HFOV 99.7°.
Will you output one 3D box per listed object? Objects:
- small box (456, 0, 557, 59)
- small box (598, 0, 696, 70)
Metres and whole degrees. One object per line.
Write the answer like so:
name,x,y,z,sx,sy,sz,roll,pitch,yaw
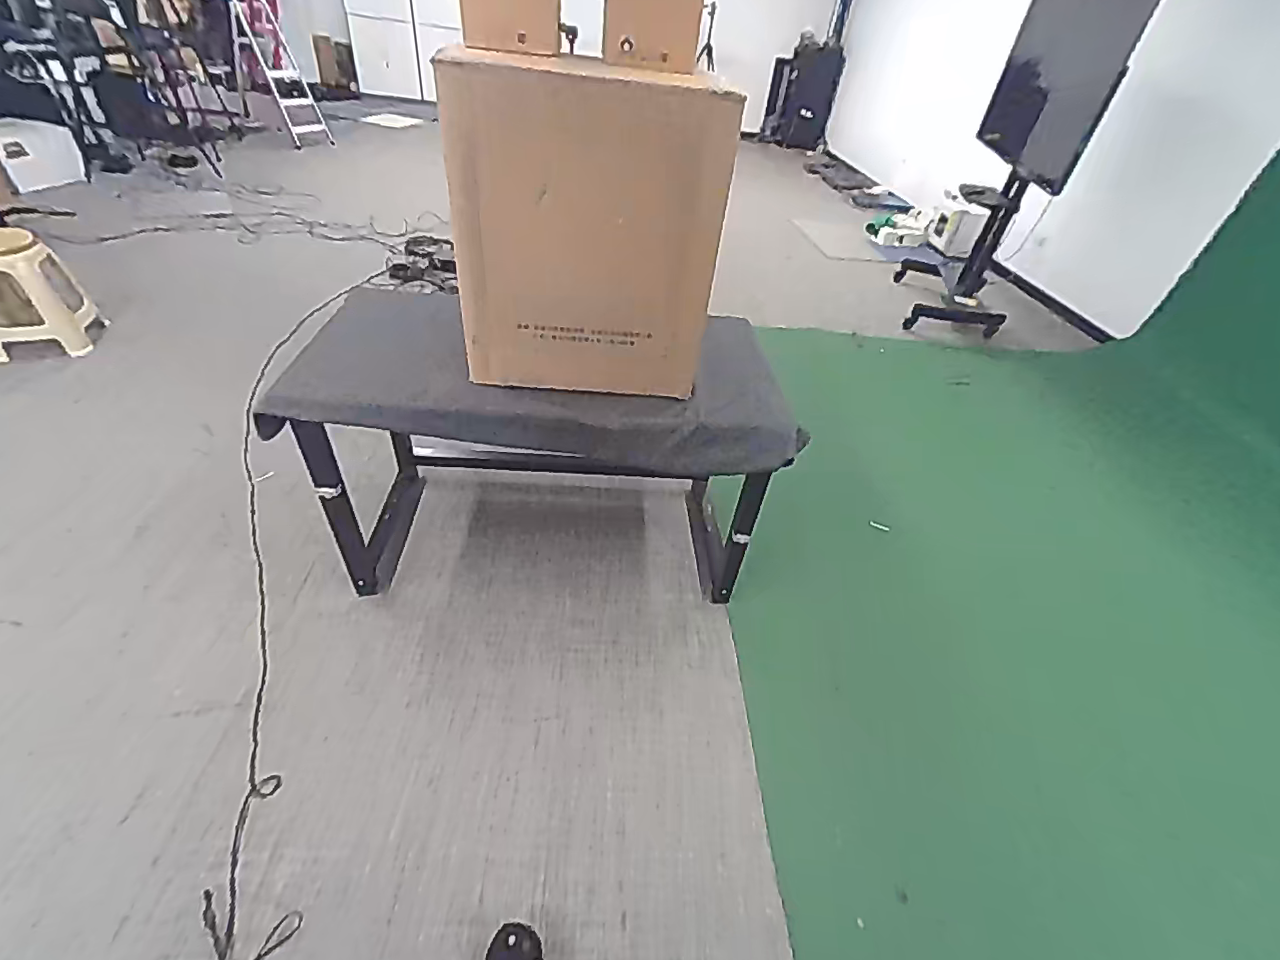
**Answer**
small box,-0.240,-0.884,0.981,0.168,0.176,0.179,1,42,-5
small box,0.009,-0.878,1.004,0.168,0.176,0.179,-1,42,-9
